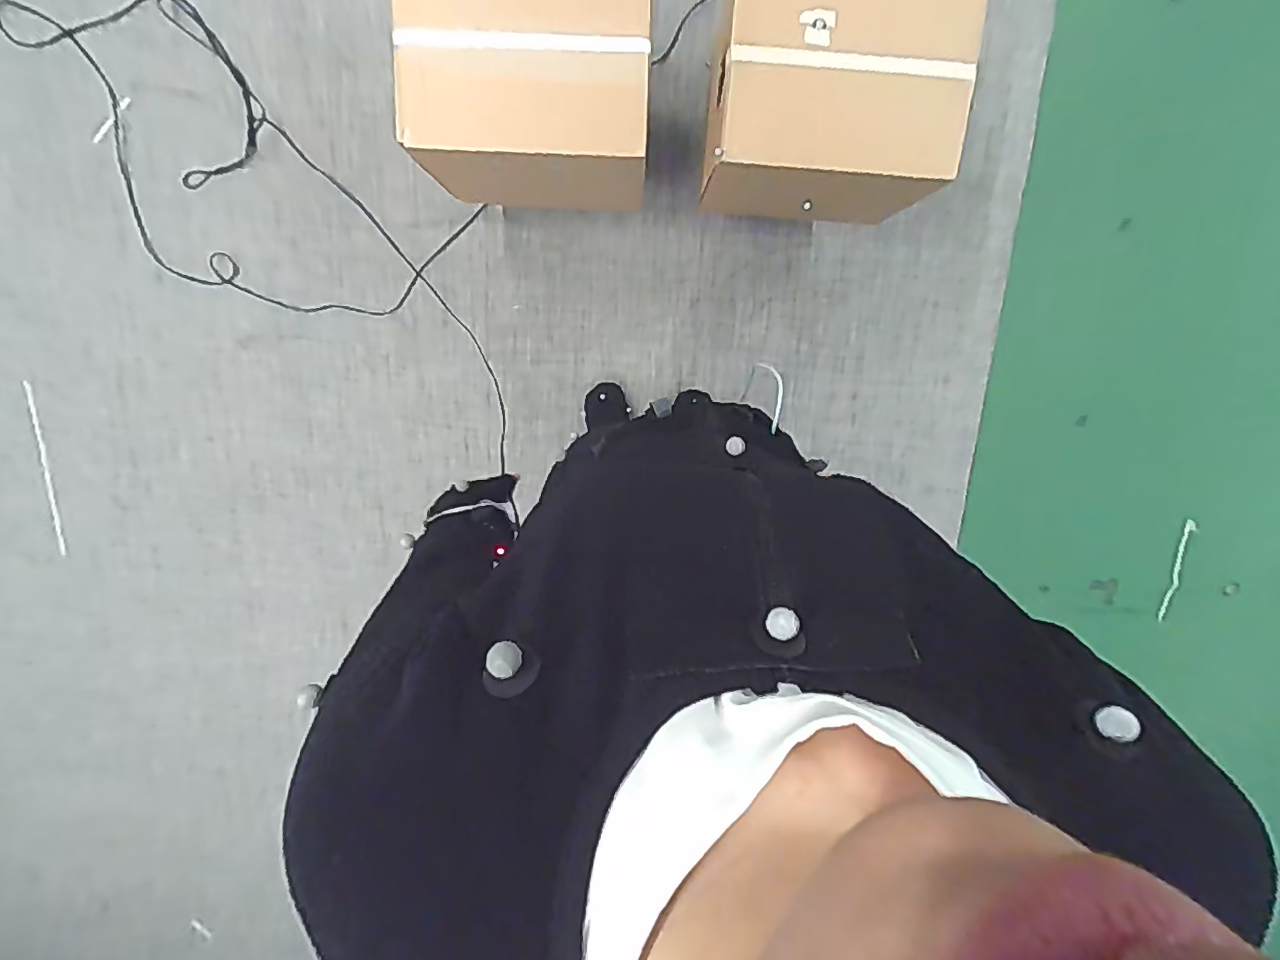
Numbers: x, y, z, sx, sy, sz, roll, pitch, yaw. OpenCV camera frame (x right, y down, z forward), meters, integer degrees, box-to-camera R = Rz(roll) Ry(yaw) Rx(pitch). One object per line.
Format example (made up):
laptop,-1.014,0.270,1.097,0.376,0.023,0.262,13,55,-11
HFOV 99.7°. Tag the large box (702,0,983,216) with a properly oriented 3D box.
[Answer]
large box,0.346,-0.713,1.032,0.408,0.320,0.320,4,102,-1
